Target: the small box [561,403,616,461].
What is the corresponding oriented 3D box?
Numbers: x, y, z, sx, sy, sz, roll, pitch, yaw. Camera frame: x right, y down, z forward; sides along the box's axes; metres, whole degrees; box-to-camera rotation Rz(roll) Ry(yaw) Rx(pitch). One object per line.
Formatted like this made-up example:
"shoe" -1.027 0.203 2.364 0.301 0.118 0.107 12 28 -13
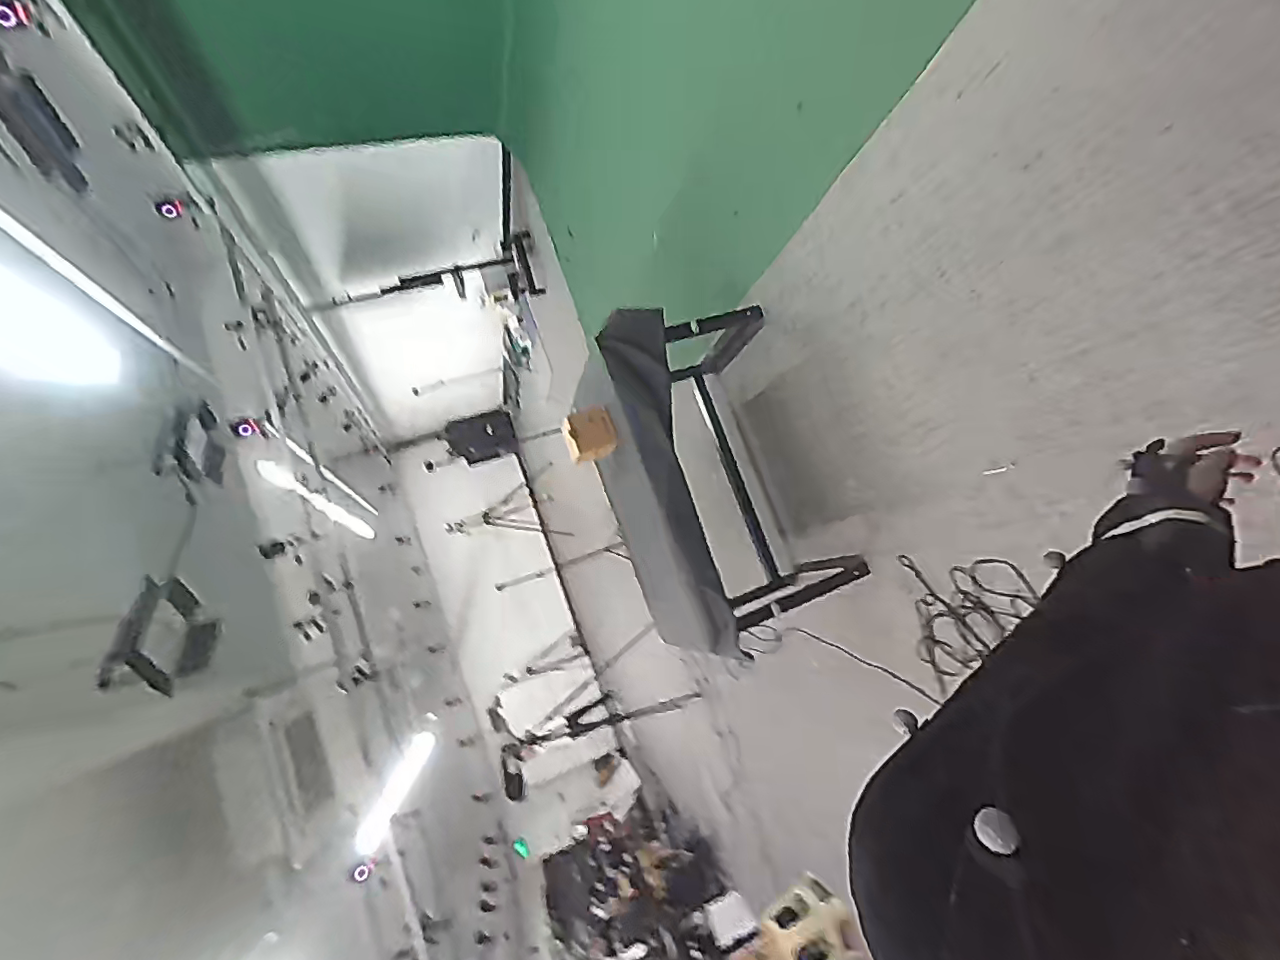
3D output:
"small box" -0.205 -0.195 2.176 0.179 0.176 0.168 133 119 -71
